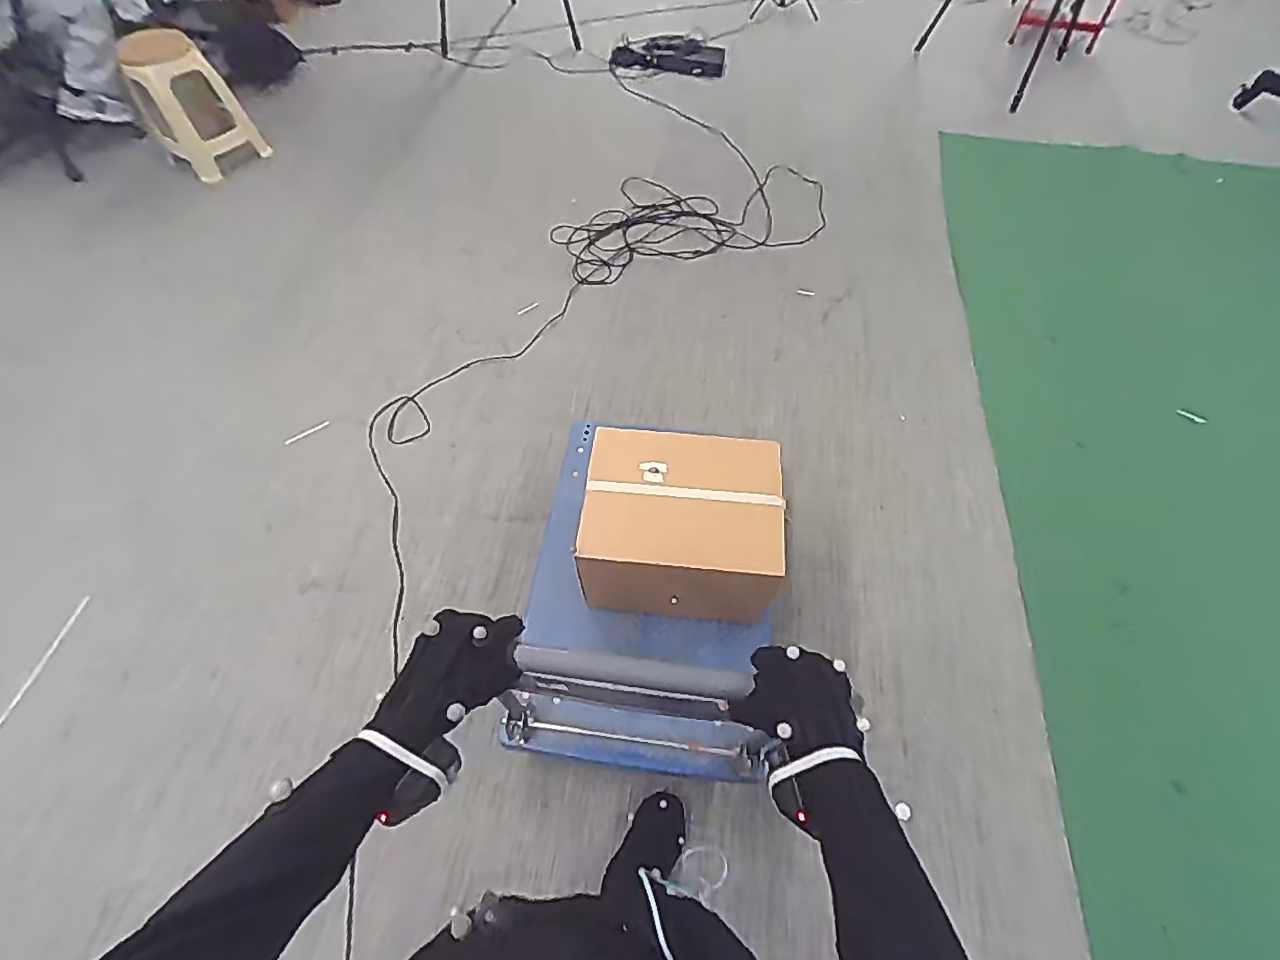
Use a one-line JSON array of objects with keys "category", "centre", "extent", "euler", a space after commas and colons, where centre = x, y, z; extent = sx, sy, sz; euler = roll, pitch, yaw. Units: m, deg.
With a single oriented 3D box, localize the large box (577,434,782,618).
[{"category": "large box", "centre": [0.092, 0.115, 1.244], "extent": [0.408, 0.320, 0.320], "euler": [4, 58, 4]}]
